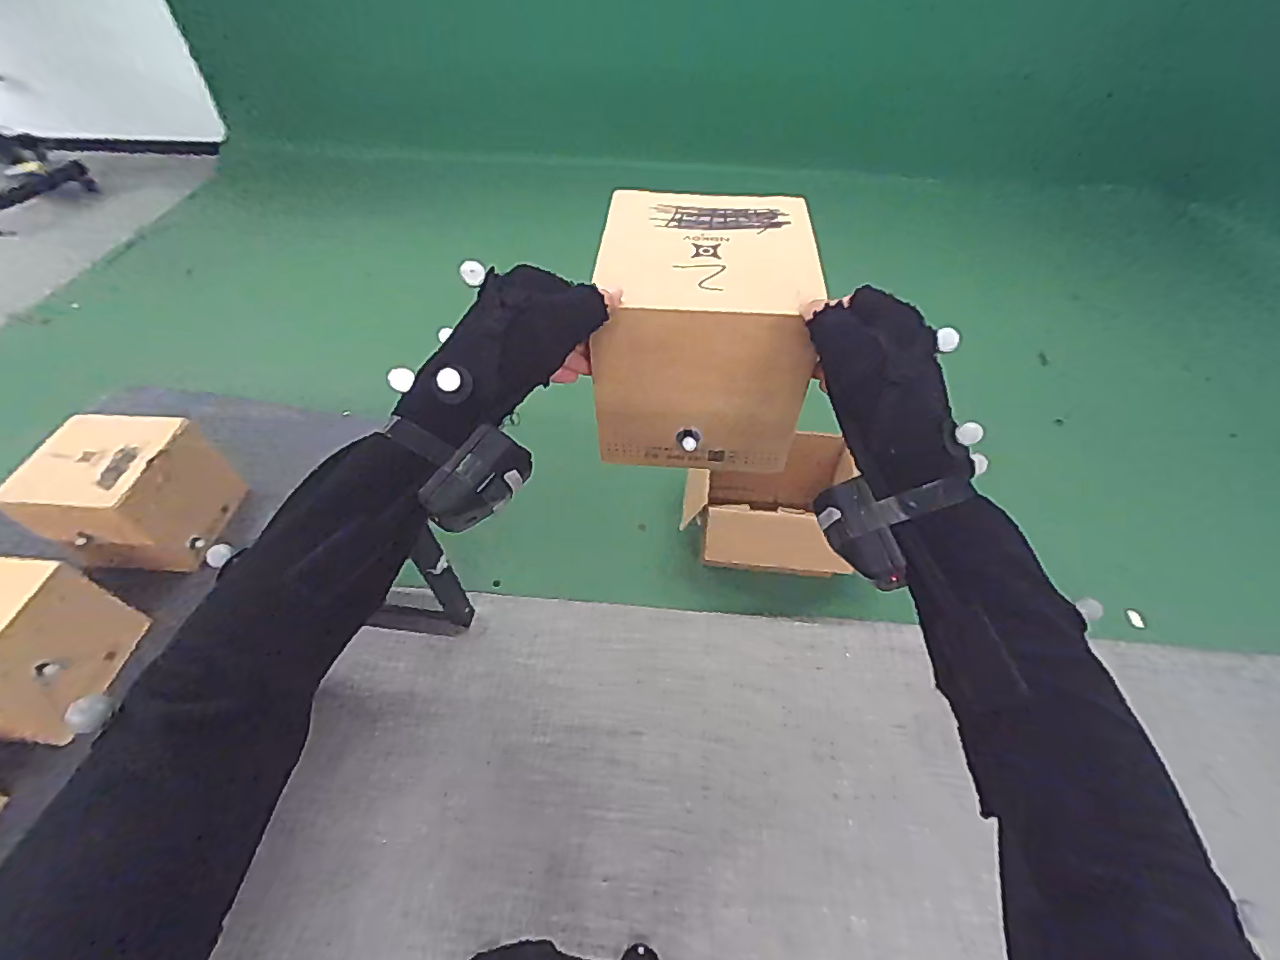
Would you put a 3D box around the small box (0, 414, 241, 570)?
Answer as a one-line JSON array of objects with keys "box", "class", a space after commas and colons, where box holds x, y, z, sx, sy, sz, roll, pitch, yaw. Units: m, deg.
[{"box": [-0.755, 0.021, 0.805, 0.179, 0.176, 0.168, 2, 51, 3], "class": "small box"}]

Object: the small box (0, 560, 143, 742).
[{"box": [-0.781, 0.207, 0.656, 0.179, 0.176, 0.168, 3, 51, 3], "class": "small box"}]
